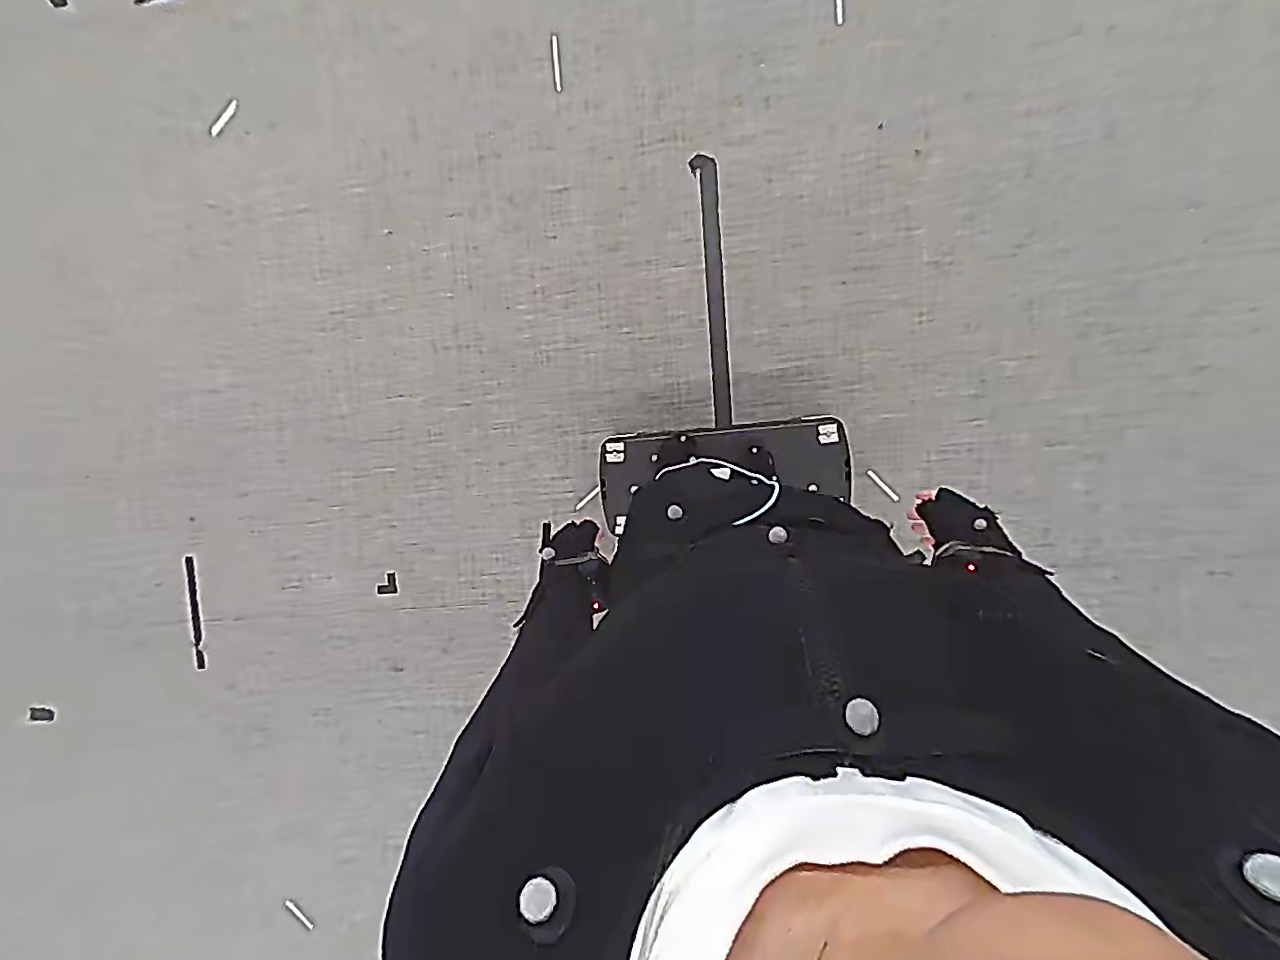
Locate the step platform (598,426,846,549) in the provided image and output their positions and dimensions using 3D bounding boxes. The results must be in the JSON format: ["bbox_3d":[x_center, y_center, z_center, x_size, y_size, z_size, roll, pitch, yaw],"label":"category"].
[{"bbox_3d":[0.221,0.021,1.539,0.684,0.204,0.286,-6,94,6],"label":"step platform"}]
